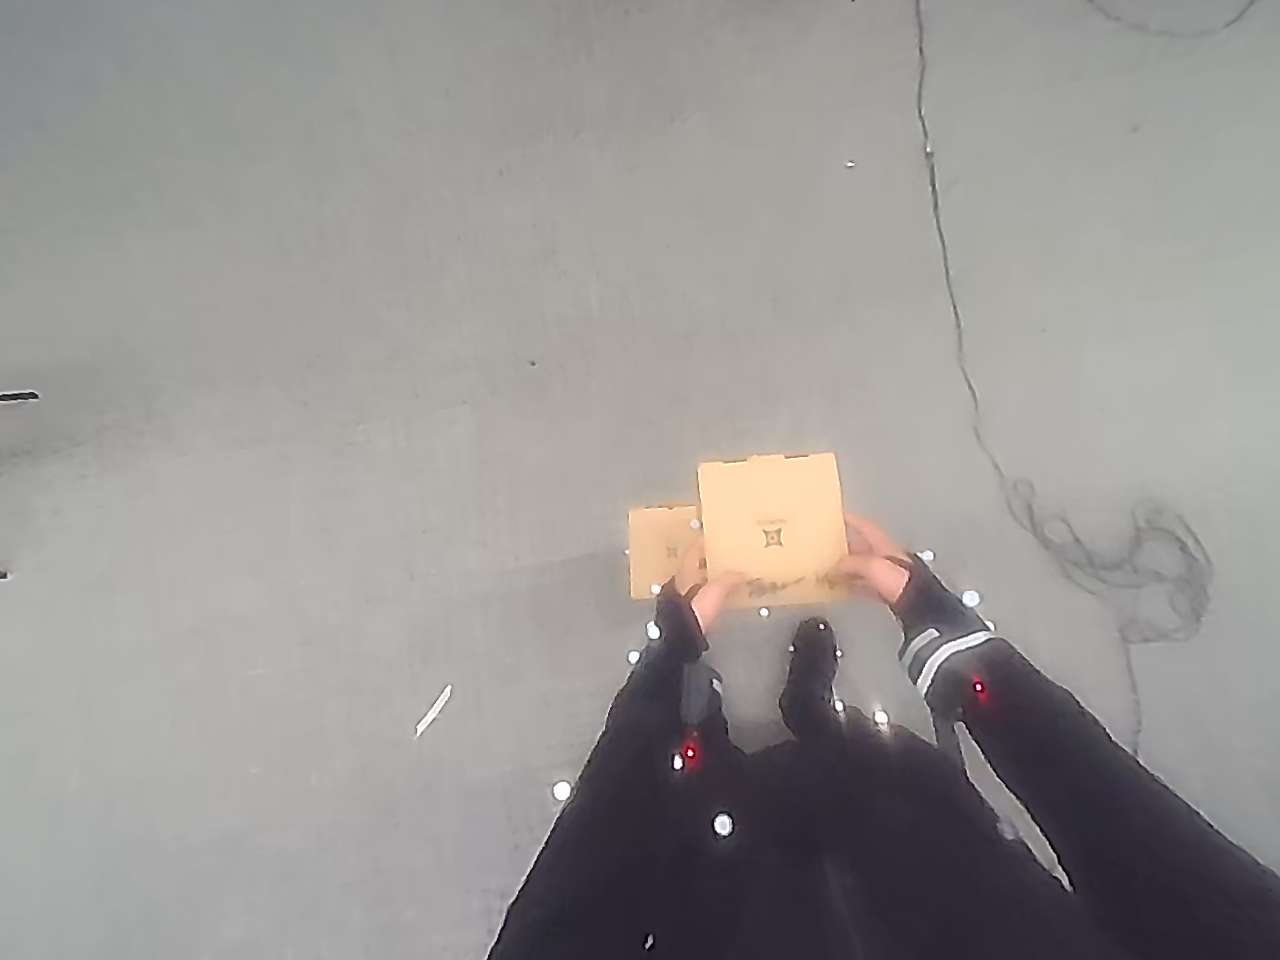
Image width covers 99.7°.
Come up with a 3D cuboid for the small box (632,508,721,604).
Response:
[{"bbox_3d":[0.074,0.158,1.092,0.168,0.176,0.179,-3,77,7],"label":"small box"}]
